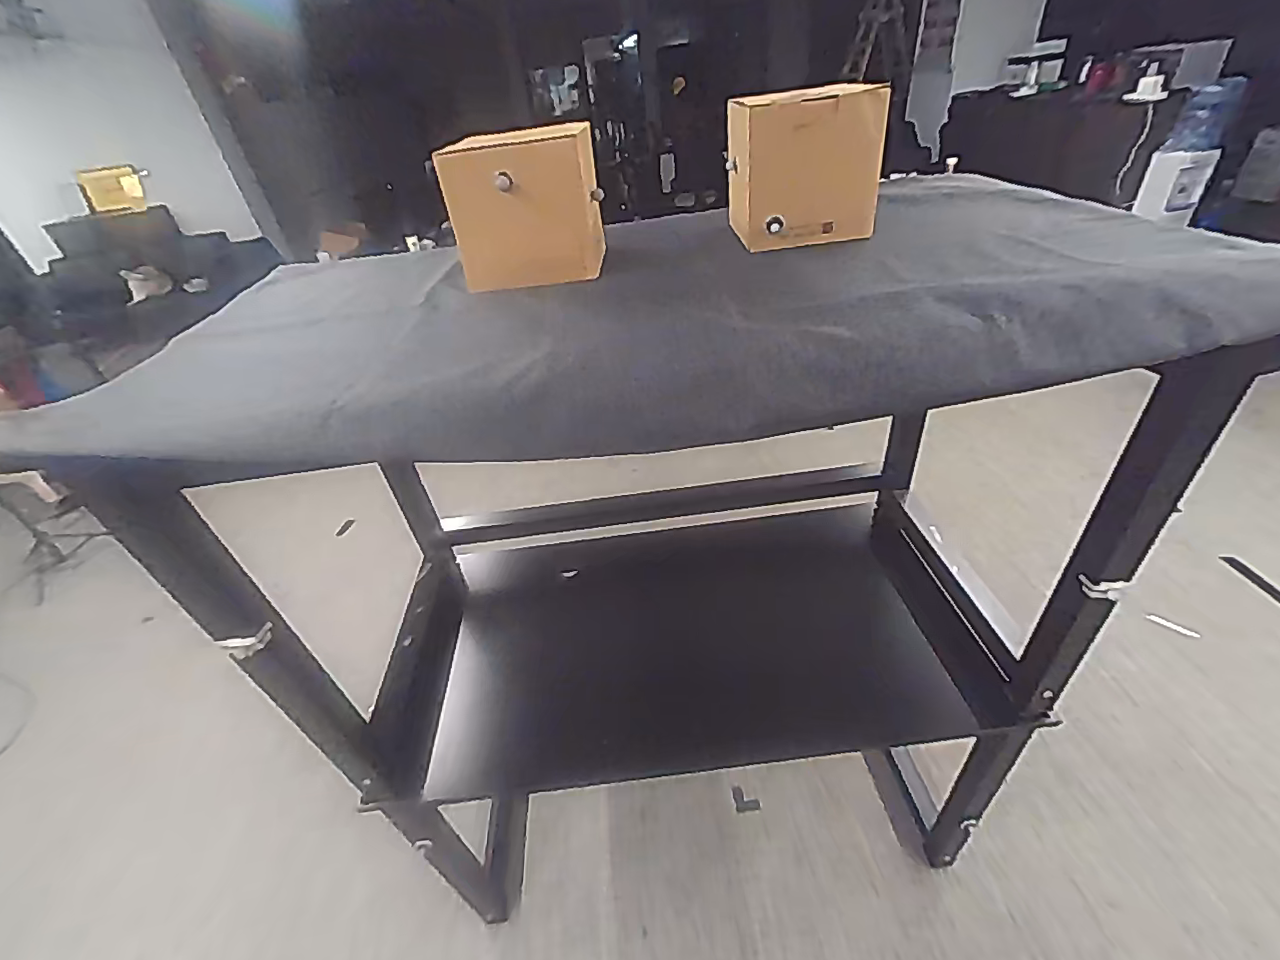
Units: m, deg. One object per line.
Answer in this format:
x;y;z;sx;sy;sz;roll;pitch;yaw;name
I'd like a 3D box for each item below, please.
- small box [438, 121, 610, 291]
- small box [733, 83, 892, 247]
-0.140;-0.371;0.734;0.179;0.176;0.168;-4;37;5;small box
0.223;-0.428;0.743;0.168;0.176;0.179;-5;36;3;small box
